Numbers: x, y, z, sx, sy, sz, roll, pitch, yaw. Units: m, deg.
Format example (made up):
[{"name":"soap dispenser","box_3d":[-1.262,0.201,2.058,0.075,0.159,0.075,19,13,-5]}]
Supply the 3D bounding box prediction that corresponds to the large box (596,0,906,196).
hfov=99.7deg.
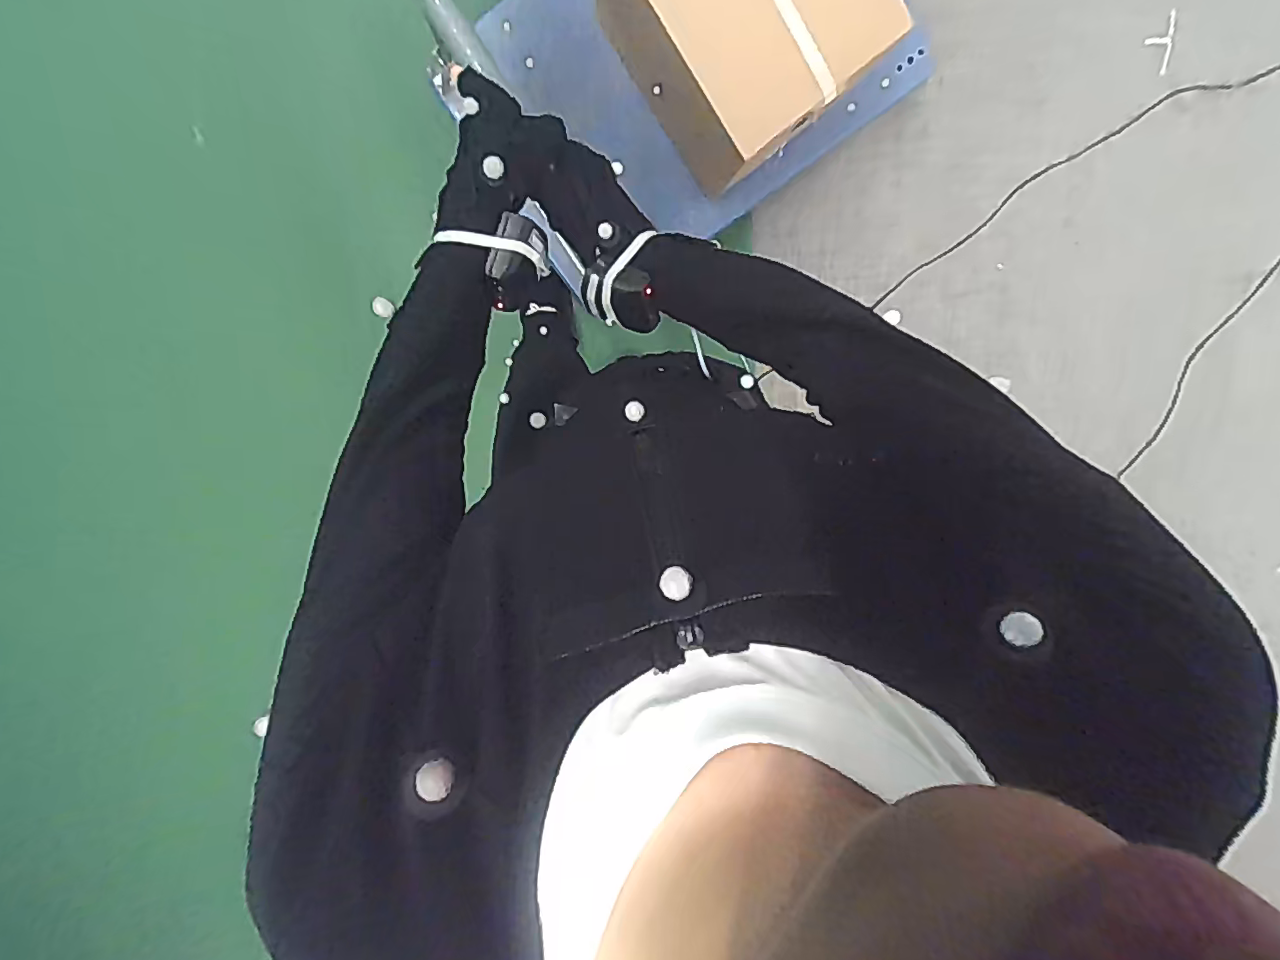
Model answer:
[{"name":"large box","box_3d":[0.159,-0.791,0.932,0.320,0.320,0.408,-37,104,7]}]
